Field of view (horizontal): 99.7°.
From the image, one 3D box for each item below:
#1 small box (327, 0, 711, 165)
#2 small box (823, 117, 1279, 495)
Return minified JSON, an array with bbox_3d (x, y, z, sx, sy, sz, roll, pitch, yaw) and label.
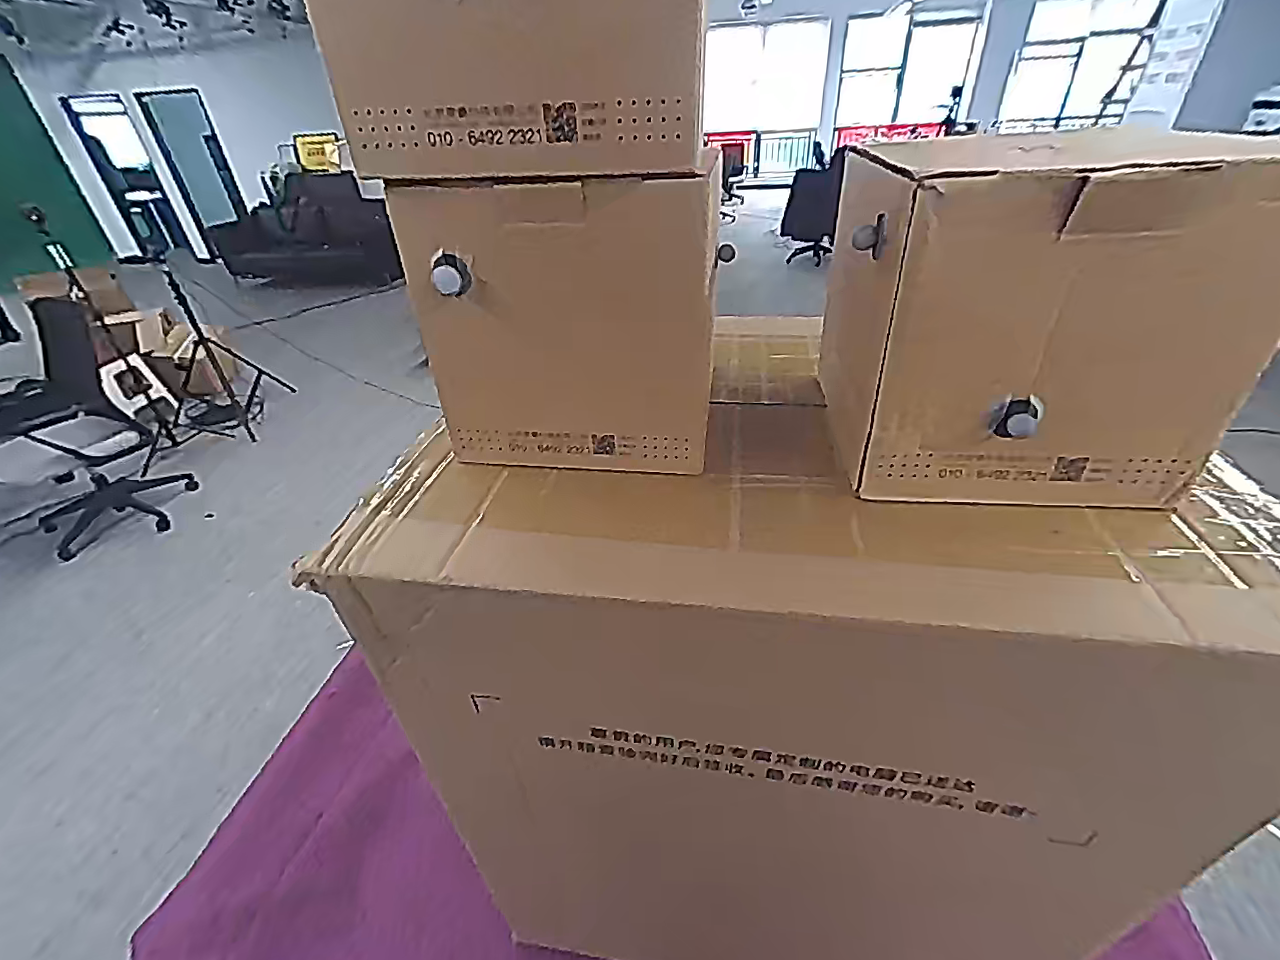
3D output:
[{"bbox_3d":[-0.047,-0.261,0.275,0.168,0.176,0.179,2,34,6],"label":"small box"},{"bbox_3d":[0.214,-0.110,0.324,0.168,0.176,0.179,1,35,8],"label":"small box"}]
